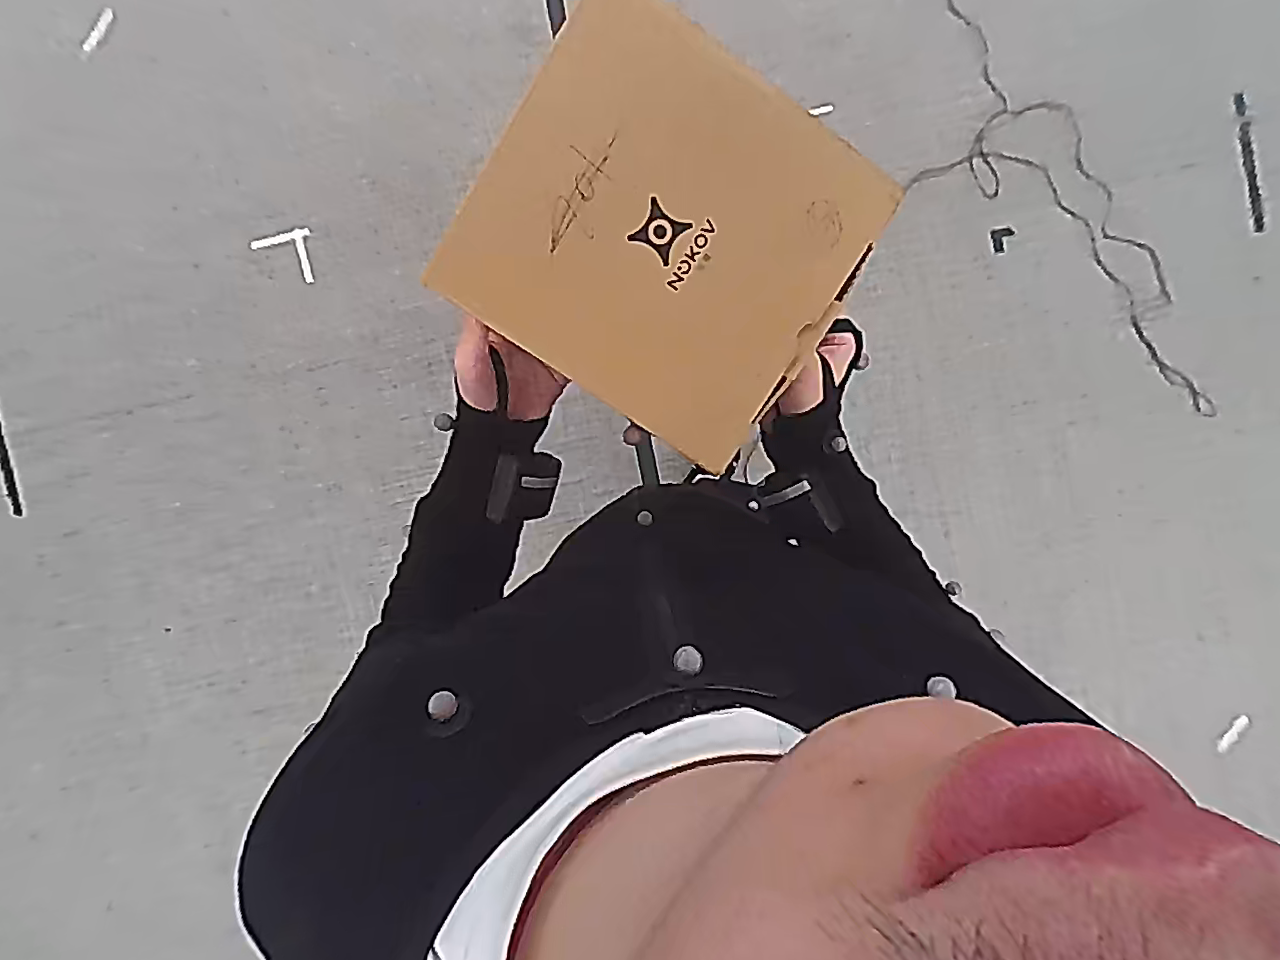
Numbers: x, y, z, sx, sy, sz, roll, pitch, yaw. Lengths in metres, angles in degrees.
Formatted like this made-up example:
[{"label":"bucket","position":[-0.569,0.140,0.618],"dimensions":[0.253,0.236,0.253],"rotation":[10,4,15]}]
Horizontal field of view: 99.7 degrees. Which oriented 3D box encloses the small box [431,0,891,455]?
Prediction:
[{"label":"small box","position":[0.008,-0.137,0.346],"dimensions":[0.179,0.176,0.168],"rotation":[32,95,-7]}]
